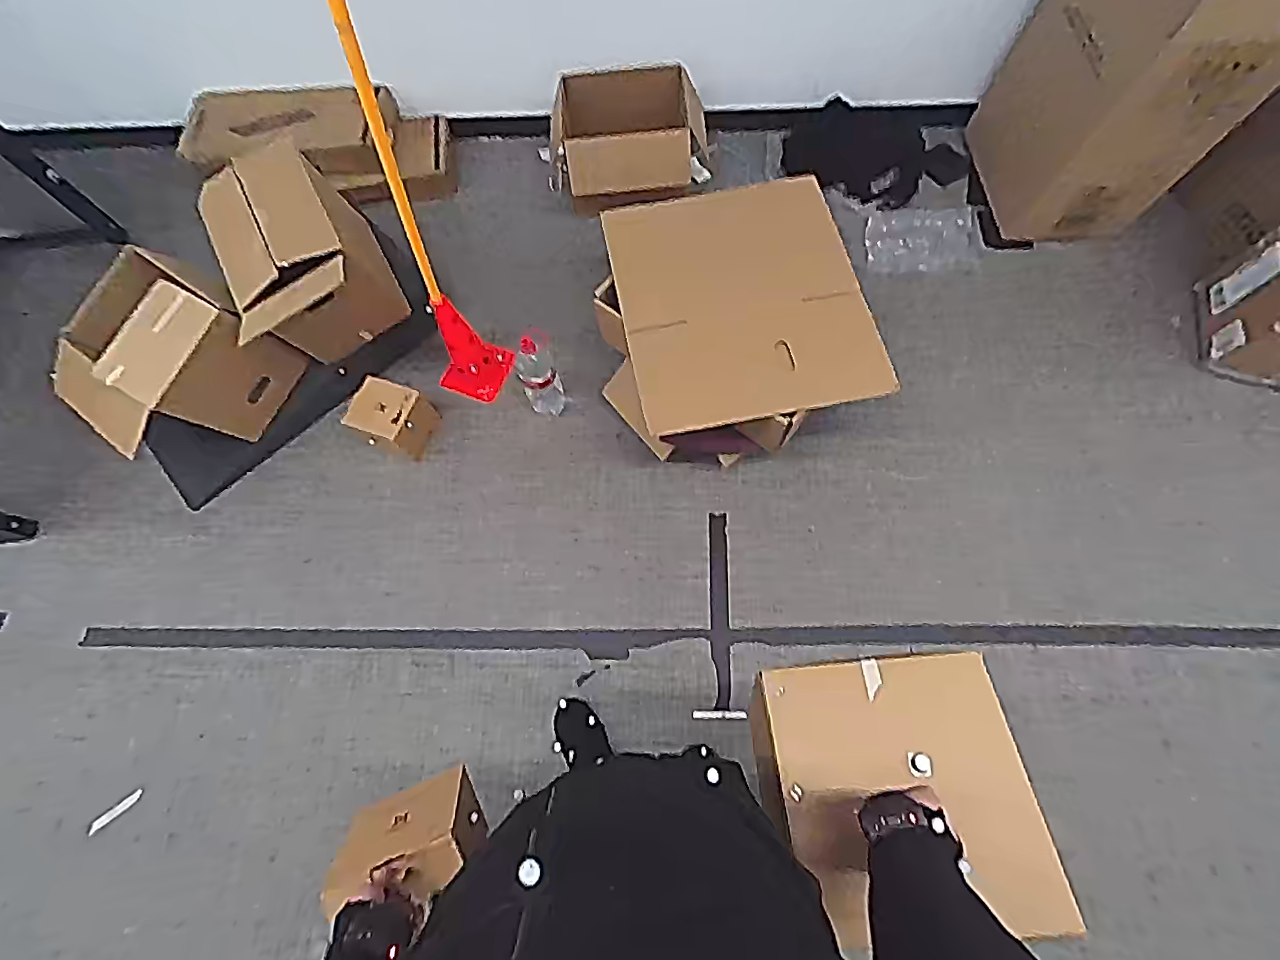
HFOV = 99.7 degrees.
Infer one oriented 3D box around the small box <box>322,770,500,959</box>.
[{"bbox_3d":[-0.303,0.559,0.756,0.168,0.179,0.176,-20,94,-12],"label":"small box"}]
